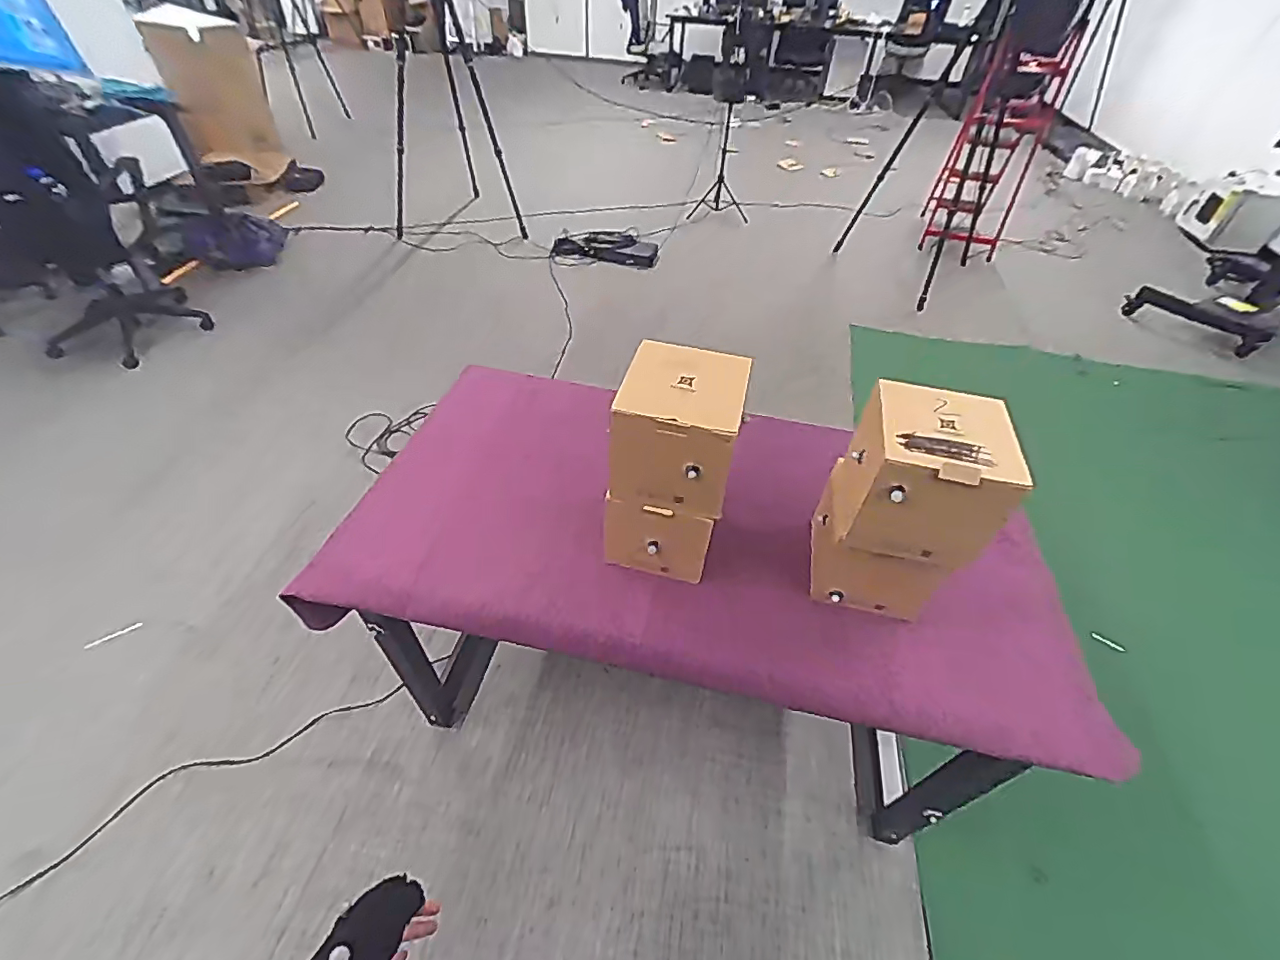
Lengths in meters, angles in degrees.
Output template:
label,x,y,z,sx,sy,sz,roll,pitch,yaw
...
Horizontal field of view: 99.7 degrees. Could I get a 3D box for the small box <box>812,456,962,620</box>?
label,x,y,z,sx,sy,sz,roll,pitch,yaw
small box,0.383,0.095,0.863,0.168,0.176,0.179,15,48,8

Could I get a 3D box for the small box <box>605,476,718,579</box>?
label,x,y,z,sx,sy,sz,roll,pitch,yaw
small box,0.047,0.038,0.899,0.168,0.176,0.179,13,48,9

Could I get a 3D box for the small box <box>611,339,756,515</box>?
label,x,y,z,sx,sy,sz,roll,pitch,yaw
small box,0.062,-0.075,0.781,0.168,0.176,0.179,13,47,8
